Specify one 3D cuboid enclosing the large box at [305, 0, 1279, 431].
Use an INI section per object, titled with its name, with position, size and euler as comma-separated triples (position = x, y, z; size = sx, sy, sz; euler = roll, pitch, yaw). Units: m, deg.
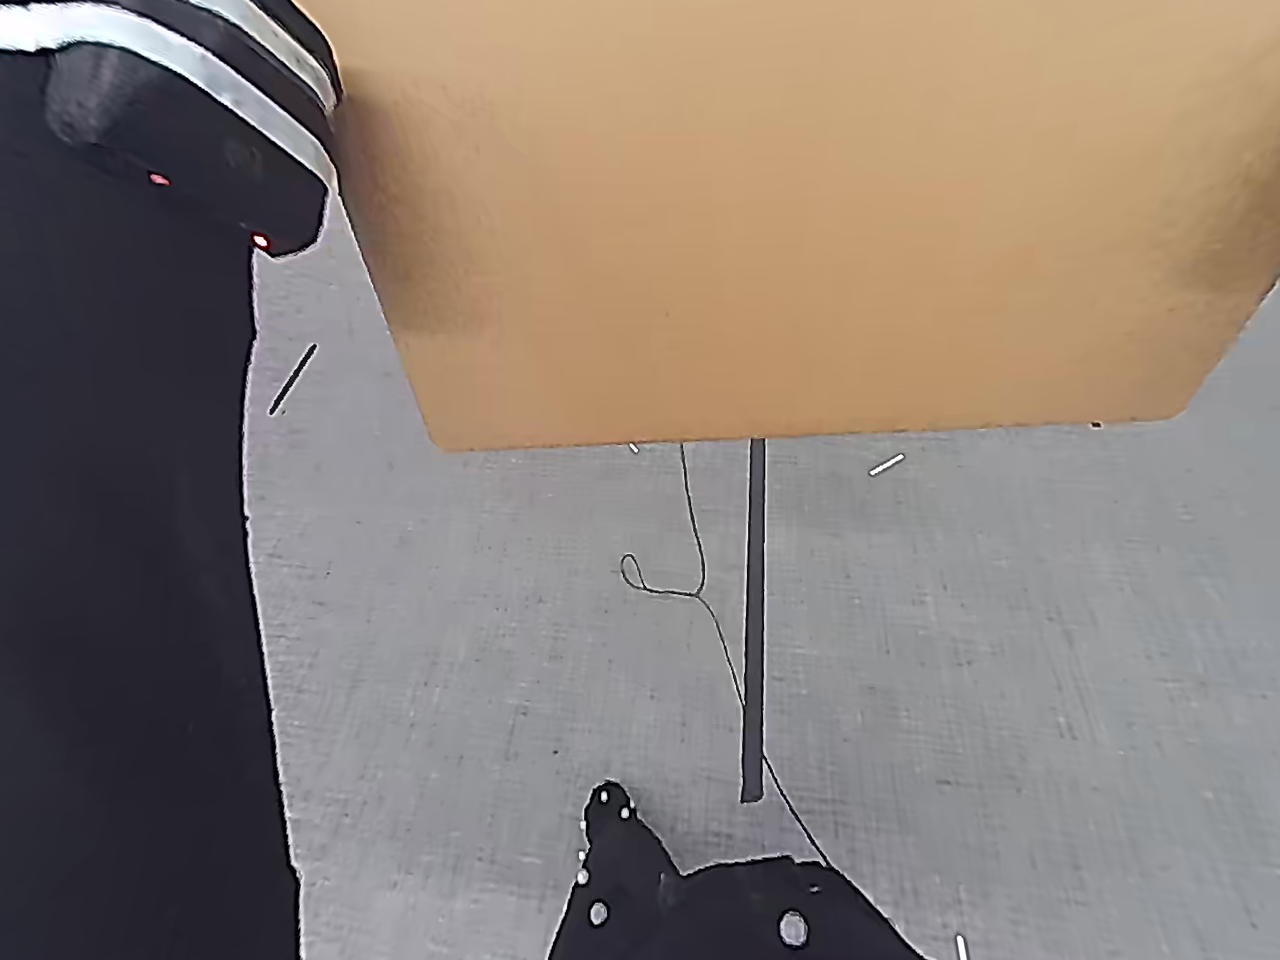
[large box]
position = 0.075, -0.244, 0.319
size = 0.408, 0.320, 0.320
euler = -2, 41, -1
